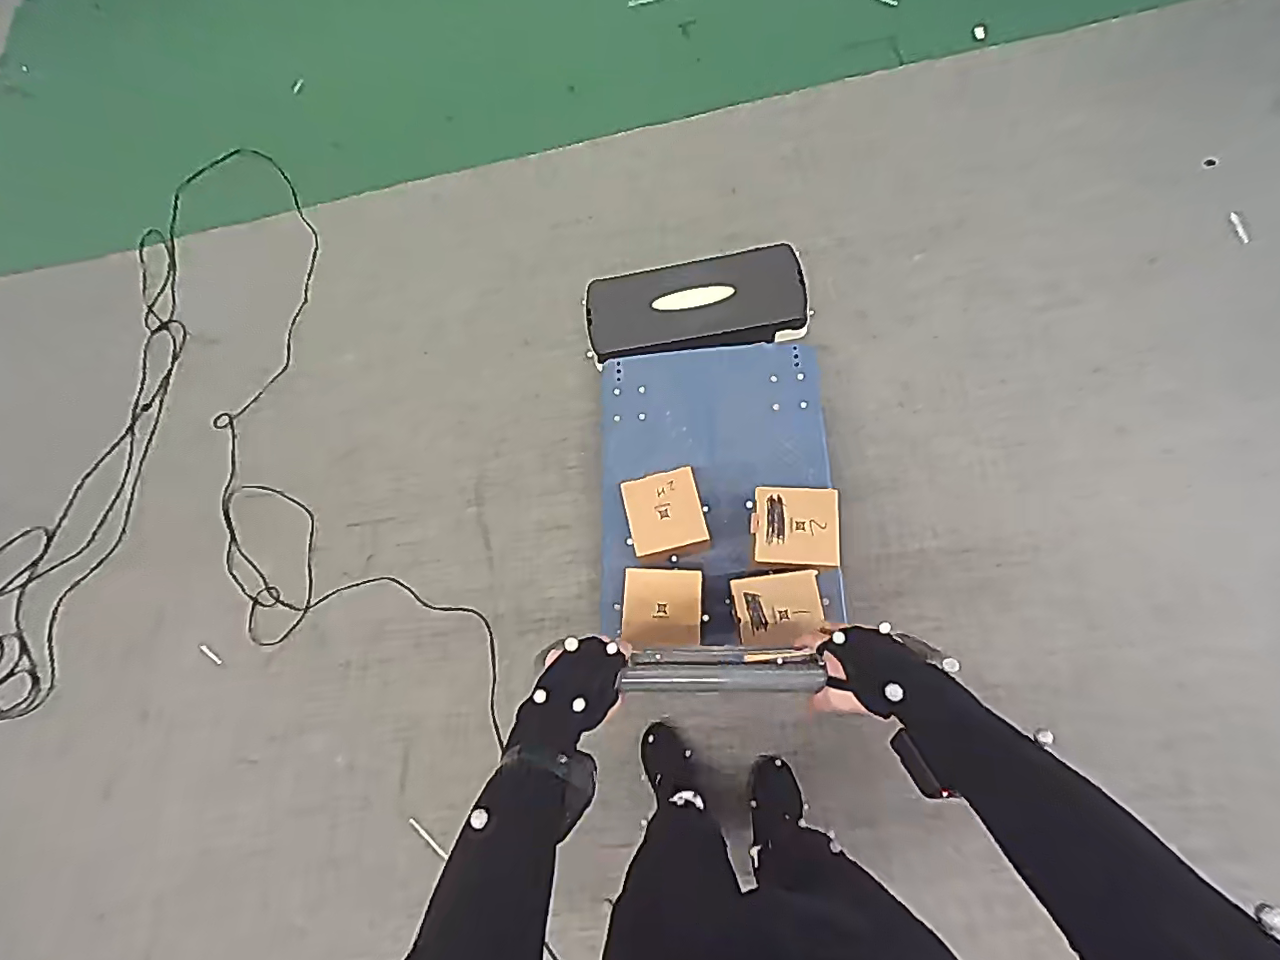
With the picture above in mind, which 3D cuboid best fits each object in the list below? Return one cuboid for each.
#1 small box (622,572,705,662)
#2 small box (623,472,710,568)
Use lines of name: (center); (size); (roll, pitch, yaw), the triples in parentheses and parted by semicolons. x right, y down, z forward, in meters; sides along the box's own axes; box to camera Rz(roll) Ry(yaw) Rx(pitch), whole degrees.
small box: (0.059, 0.309, 1.209); (0.168, 0.176, 0.179); (1, 73, 8)
small box: (0.068, 0.103, 1.271); (0.168, 0.176, 0.179); (-14, 71, 3)
